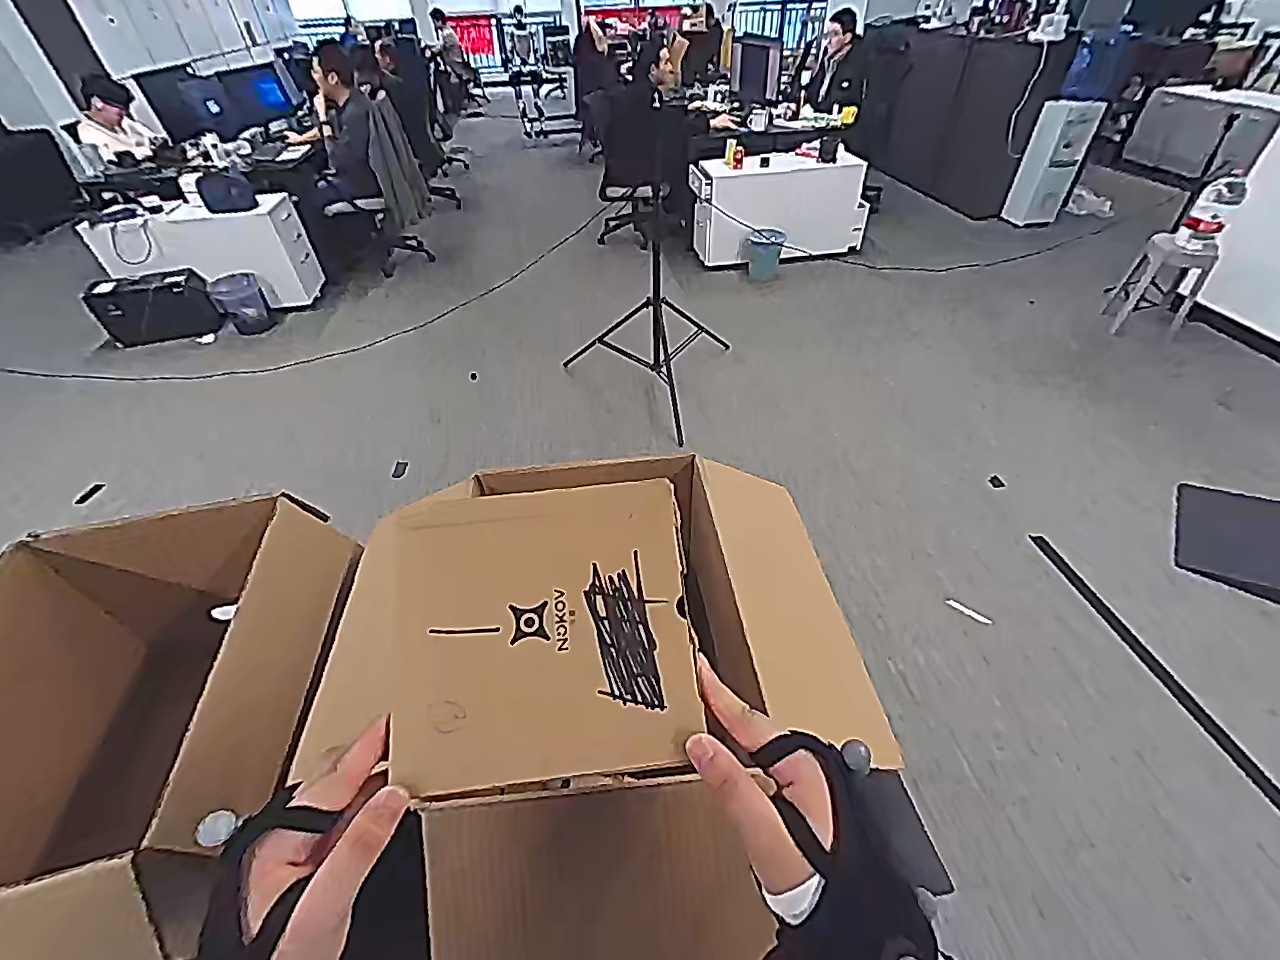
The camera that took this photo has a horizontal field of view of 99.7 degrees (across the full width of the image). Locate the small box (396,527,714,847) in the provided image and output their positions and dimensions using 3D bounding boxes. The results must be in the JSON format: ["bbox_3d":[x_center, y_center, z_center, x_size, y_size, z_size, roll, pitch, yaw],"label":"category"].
[{"bbox_3d":[-0.055,0.139,0.395,0.179,0.176,0.168,-6,70,-3],"label":"small box"}]
